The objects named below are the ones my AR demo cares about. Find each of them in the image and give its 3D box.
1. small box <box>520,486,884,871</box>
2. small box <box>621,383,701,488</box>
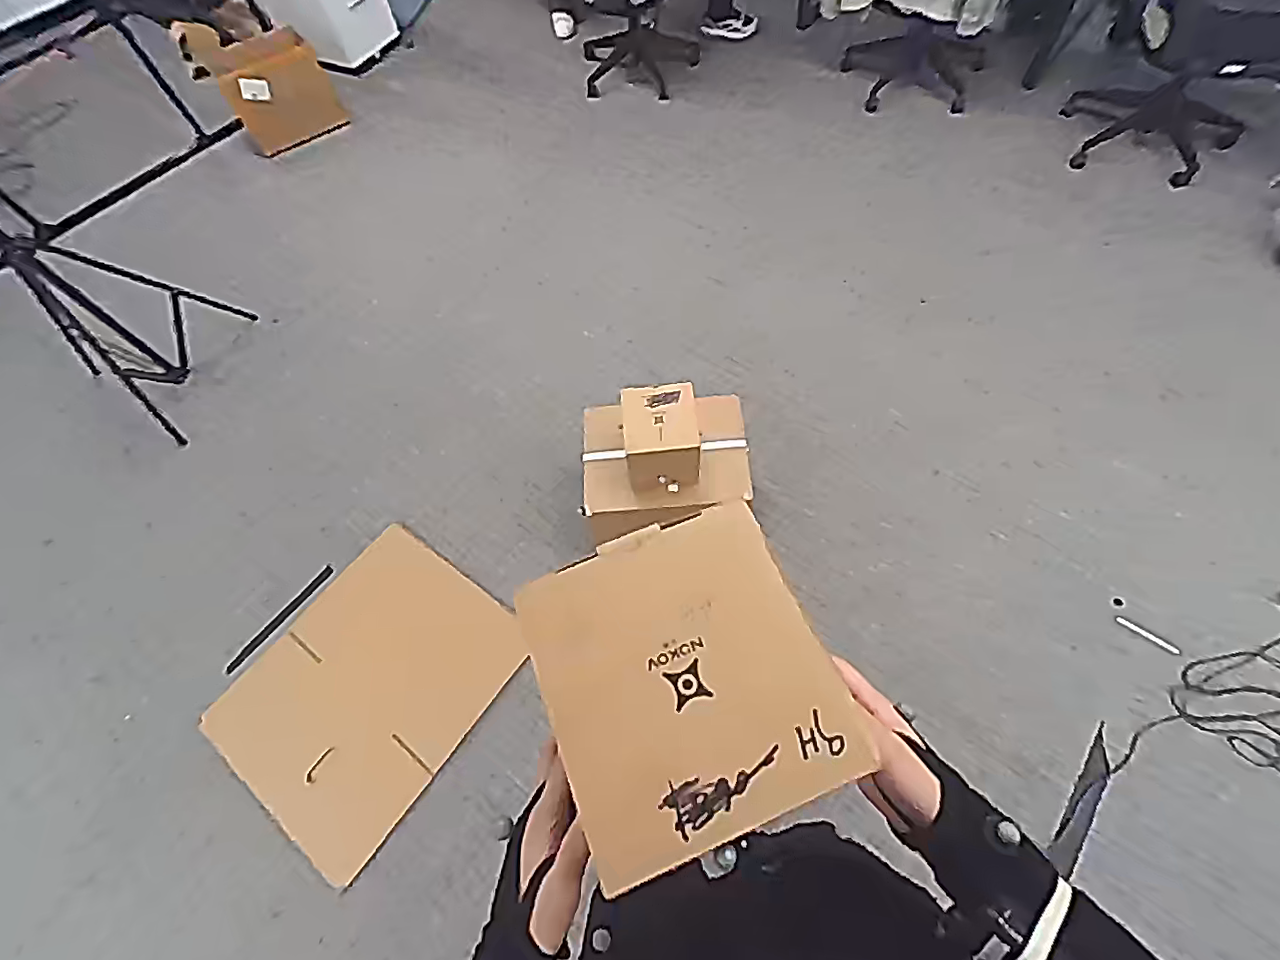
[{"bbox_3d":[0.033,0.136,0.390,0.168,0.176,0.179,-22,65,-5],"label":"small box"},{"bbox_3d":[0.048,-0.100,1.258,0.168,0.176,0.179,-6,62,2],"label":"small box"}]
